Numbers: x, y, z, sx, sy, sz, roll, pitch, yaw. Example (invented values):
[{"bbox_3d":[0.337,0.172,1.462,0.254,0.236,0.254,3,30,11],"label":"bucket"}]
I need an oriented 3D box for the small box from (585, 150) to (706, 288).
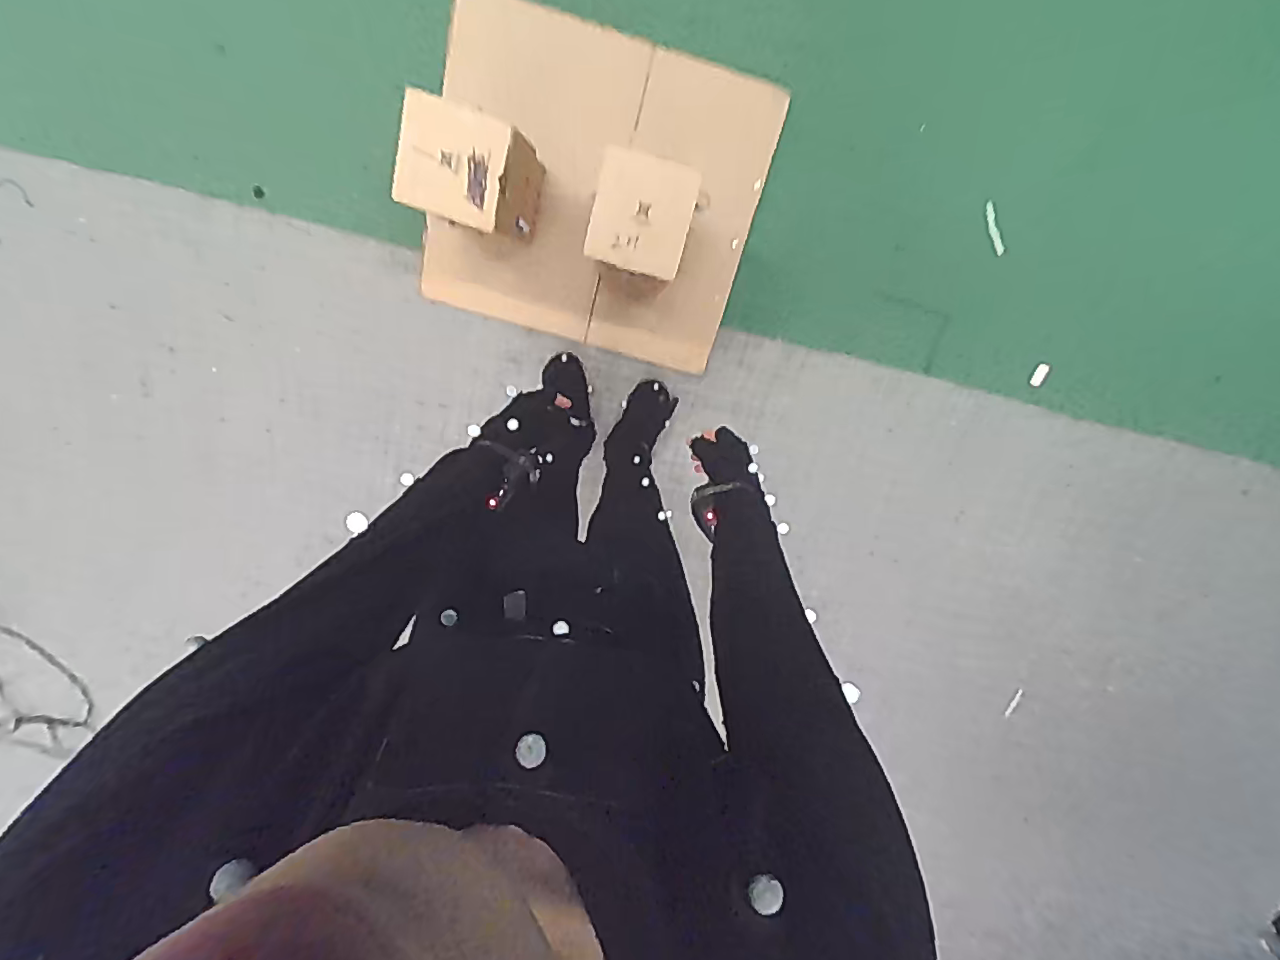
[{"bbox_3d":[0.007,-0.459,0.976,0.168,0.176,0.179,15,110,-4],"label":"small box"}]

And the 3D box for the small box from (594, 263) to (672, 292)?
[{"bbox_3d":[0.006,-0.506,1.135,0.168,0.176,0.179,13,110,-4],"label":"small box"}]

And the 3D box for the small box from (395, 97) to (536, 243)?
[{"bbox_3d":[-0.297,-0.529,0.951,0.179,0.176,0.168,18,109,-4],"label":"small box"}]
